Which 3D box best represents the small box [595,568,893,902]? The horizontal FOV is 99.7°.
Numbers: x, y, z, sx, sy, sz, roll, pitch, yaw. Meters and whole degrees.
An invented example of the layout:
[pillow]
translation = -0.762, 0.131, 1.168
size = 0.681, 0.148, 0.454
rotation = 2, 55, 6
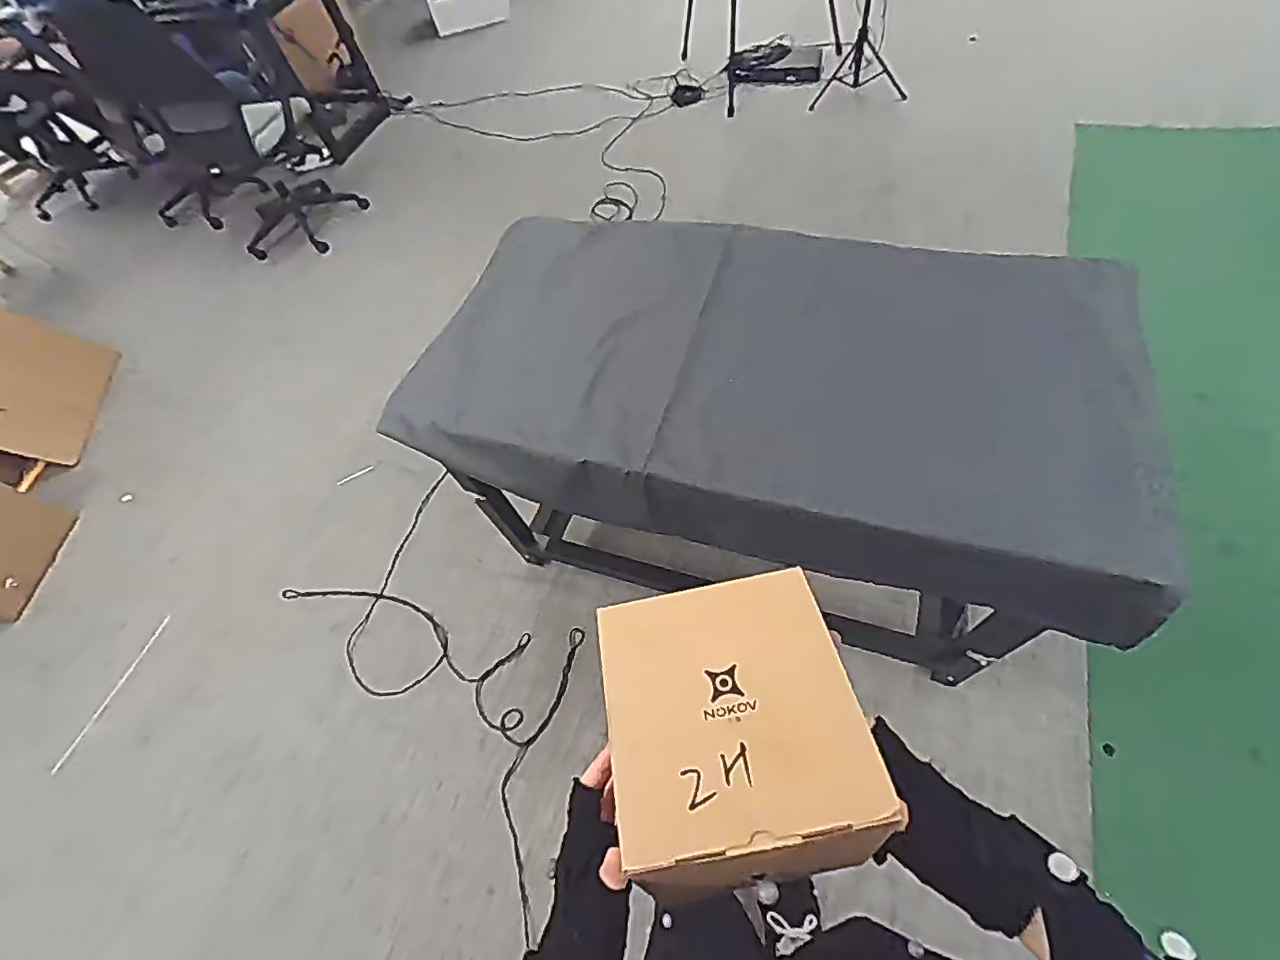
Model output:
[small box]
translation = 0.066, 0.199, 0.421
size = 0.168, 0.176, 0.179
rotation = -12, 46, 2
